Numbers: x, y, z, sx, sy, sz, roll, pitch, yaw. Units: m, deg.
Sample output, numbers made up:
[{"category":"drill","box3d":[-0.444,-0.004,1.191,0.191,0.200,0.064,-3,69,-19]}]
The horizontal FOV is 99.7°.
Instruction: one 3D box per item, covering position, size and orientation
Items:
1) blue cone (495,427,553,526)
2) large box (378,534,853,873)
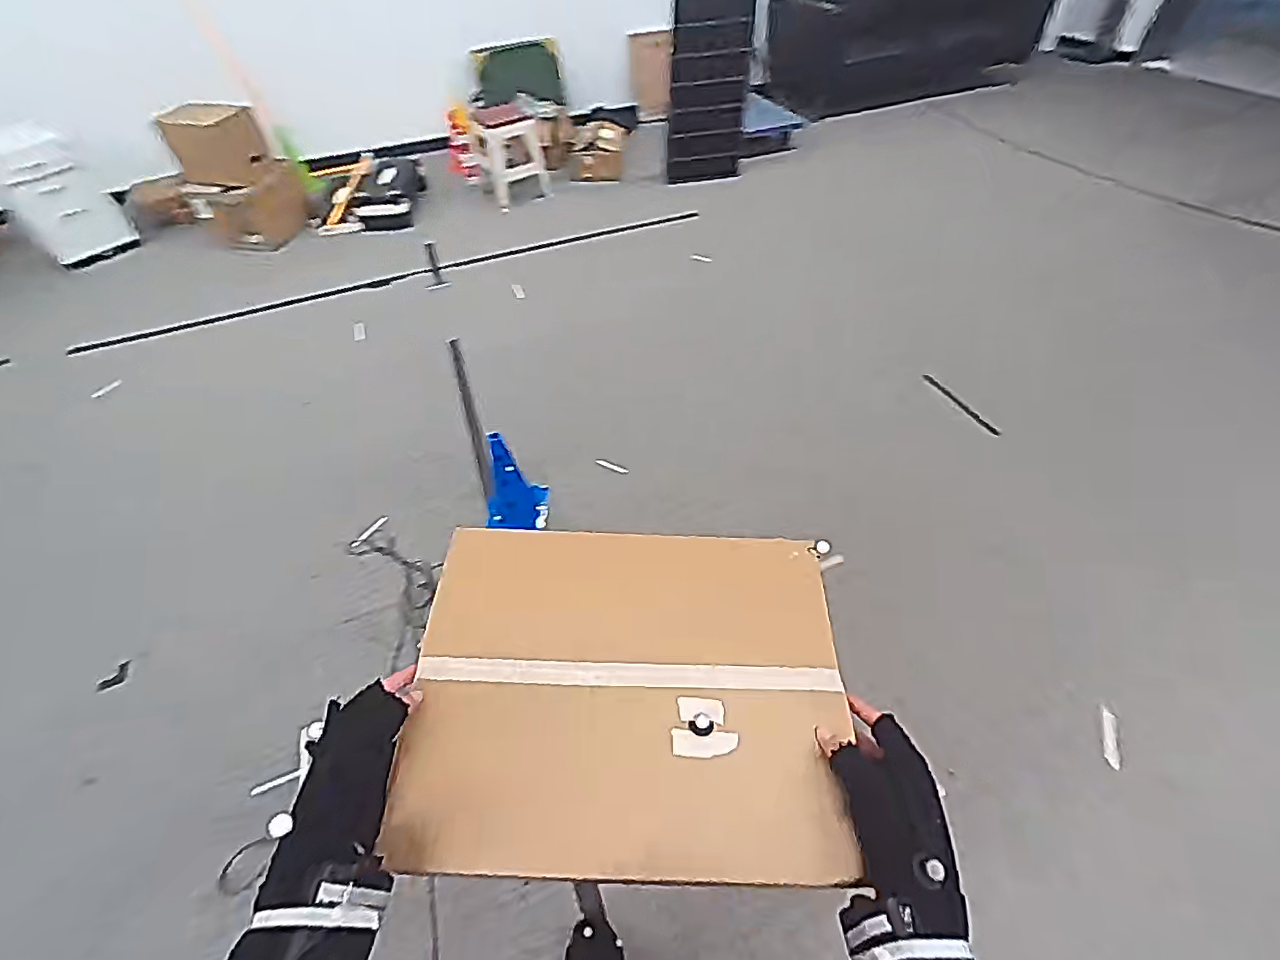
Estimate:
[{"category":"blue cone","box3d":[-0.413,-0.021,1.781,0.193,0.380,0.192,0,49,2]},{"category":"large box","box3d":[-0.024,0.278,0.652,0.408,0.320,0.320,2,53,-1]}]
